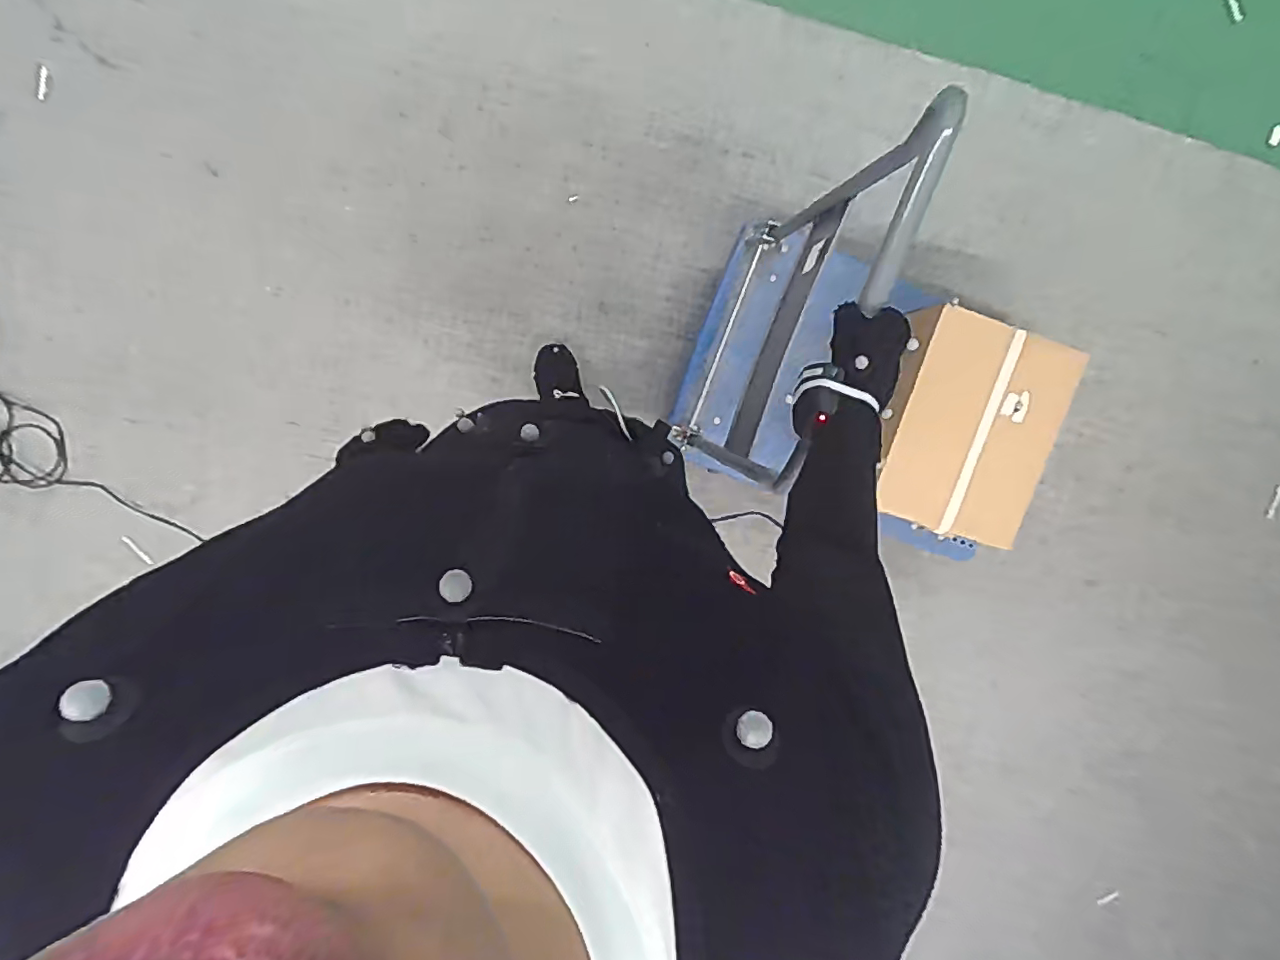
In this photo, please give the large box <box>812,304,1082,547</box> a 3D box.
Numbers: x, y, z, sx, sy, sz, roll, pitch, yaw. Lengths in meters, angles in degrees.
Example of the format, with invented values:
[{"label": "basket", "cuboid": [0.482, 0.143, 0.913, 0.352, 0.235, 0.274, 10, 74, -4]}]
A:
[{"label": "large box", "cuboid": [0.627, -0.114, 1.177, 0.320, 0.320, 0.408, 17, 97, -7]}]
